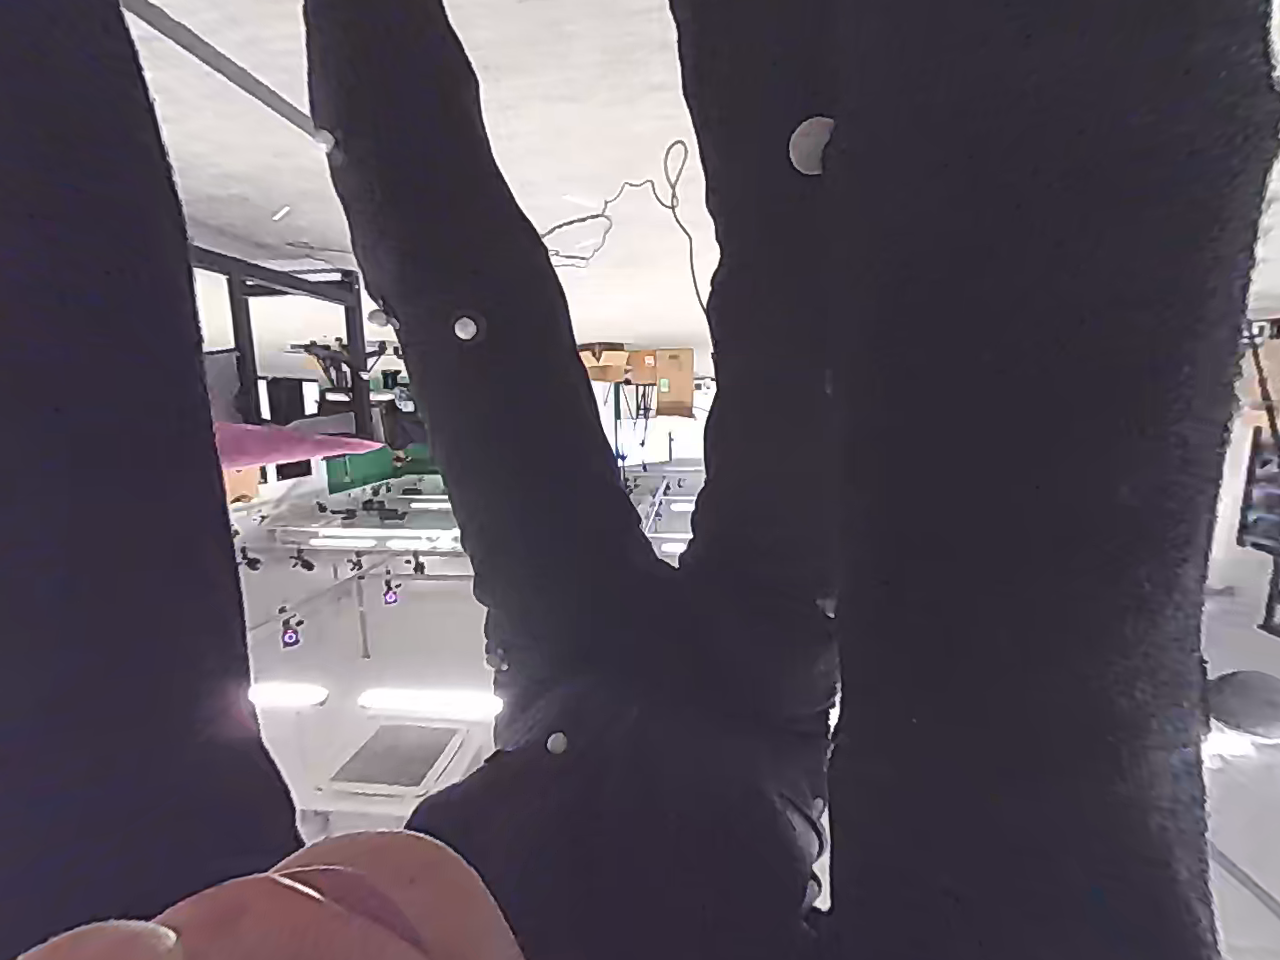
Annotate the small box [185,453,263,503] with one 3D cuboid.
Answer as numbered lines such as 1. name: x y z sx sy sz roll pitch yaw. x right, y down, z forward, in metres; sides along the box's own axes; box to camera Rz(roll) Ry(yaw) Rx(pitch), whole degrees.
1. small box: -1.560 -0.012 2.027 0.179 0.176 0.168 0 -171 8
